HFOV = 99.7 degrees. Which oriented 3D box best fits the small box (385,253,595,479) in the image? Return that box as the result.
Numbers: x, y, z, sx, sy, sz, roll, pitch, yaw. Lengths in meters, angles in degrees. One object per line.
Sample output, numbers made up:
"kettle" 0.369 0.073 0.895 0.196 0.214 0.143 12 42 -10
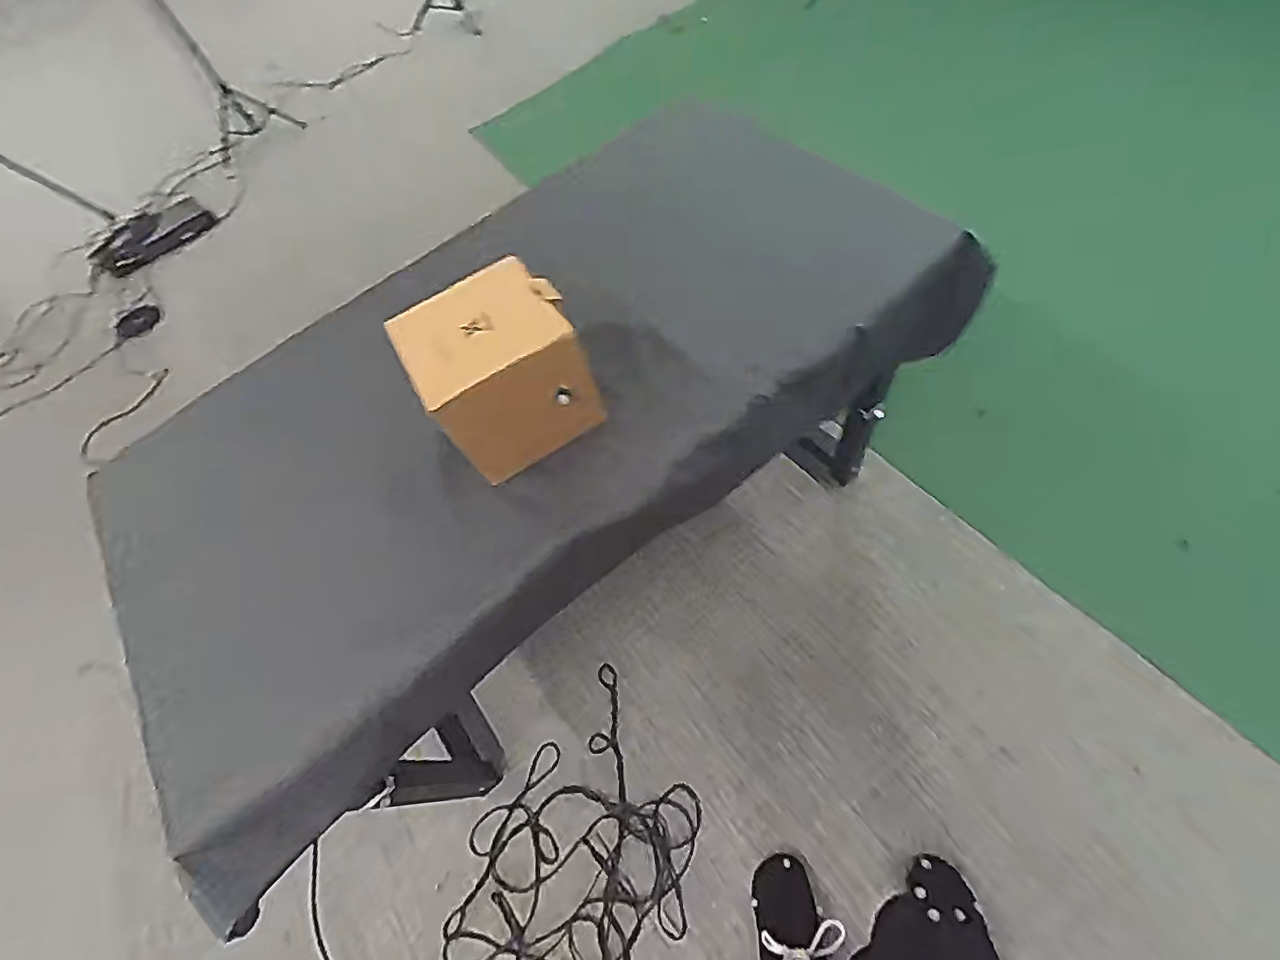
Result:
"small box" -0.171 -0.134 0.670 0.179 0.176 0.168 -33 60 -6
